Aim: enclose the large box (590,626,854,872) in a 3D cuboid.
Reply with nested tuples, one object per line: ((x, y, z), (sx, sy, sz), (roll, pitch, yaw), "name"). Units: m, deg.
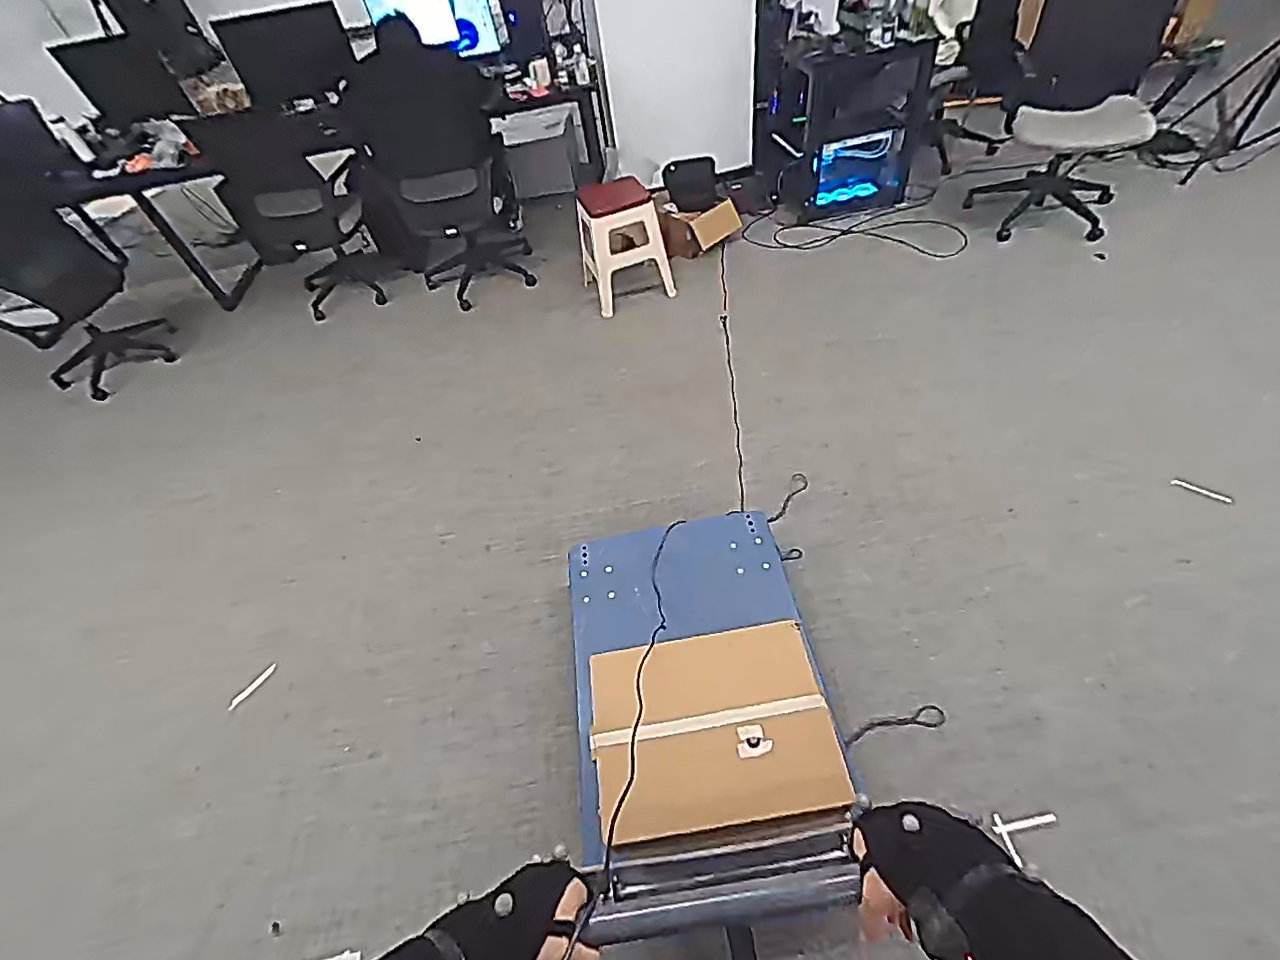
((0.135, 0.523, 1.043), (0.408, 0.320, 0.320), (-10, 50, 0), "large box")
